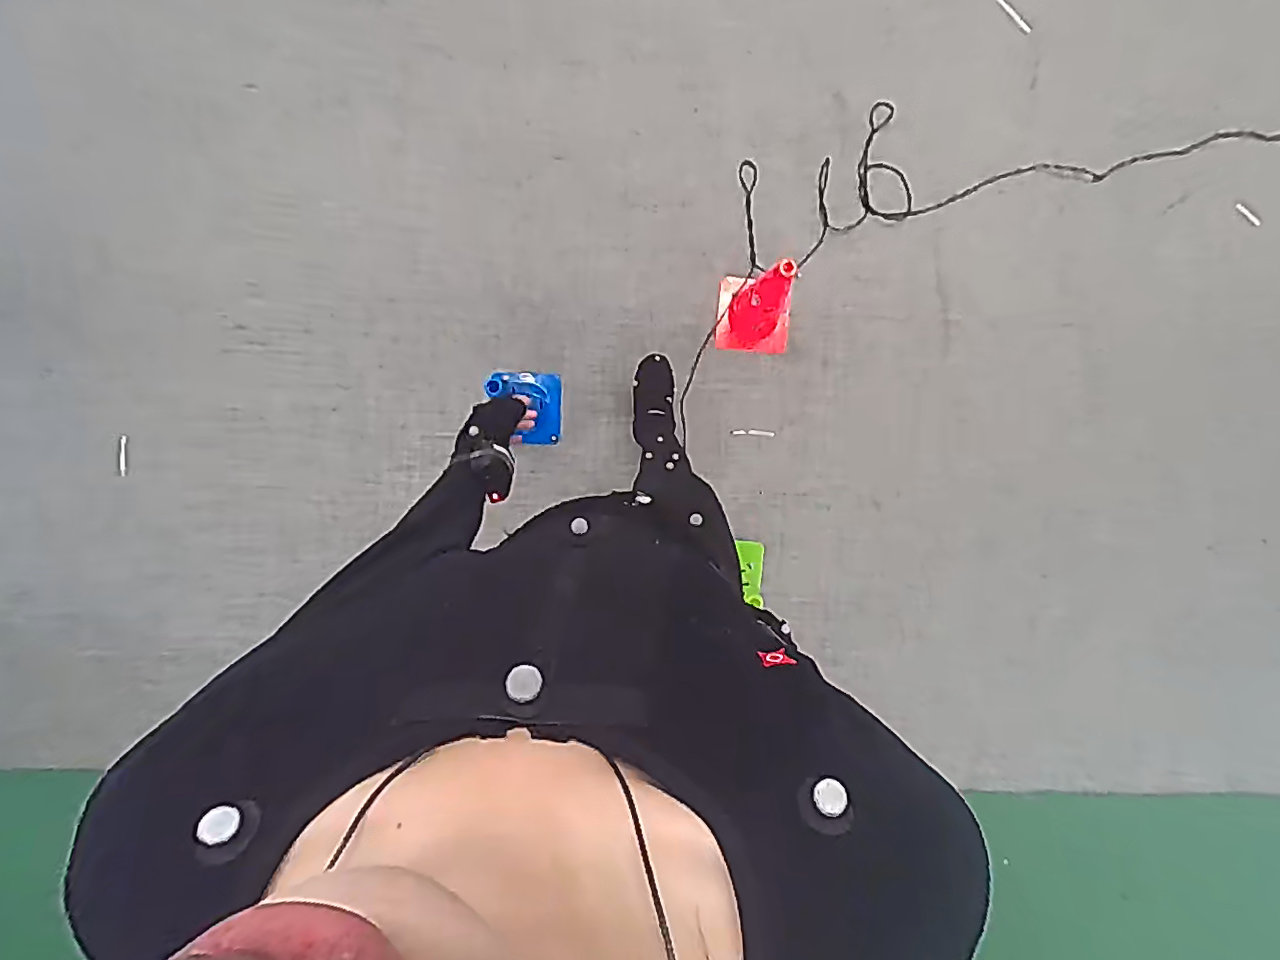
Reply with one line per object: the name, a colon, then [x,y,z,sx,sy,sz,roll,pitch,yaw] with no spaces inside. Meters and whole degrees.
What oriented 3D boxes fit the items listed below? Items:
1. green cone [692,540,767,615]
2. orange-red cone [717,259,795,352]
green cone: [0.252,0.269,1.334,0.200,0.368,0.202,4,89,-1]
orange-red cone: [0.319,-0.460,1.338,0.198,0.360,0.199,7,92,0]
